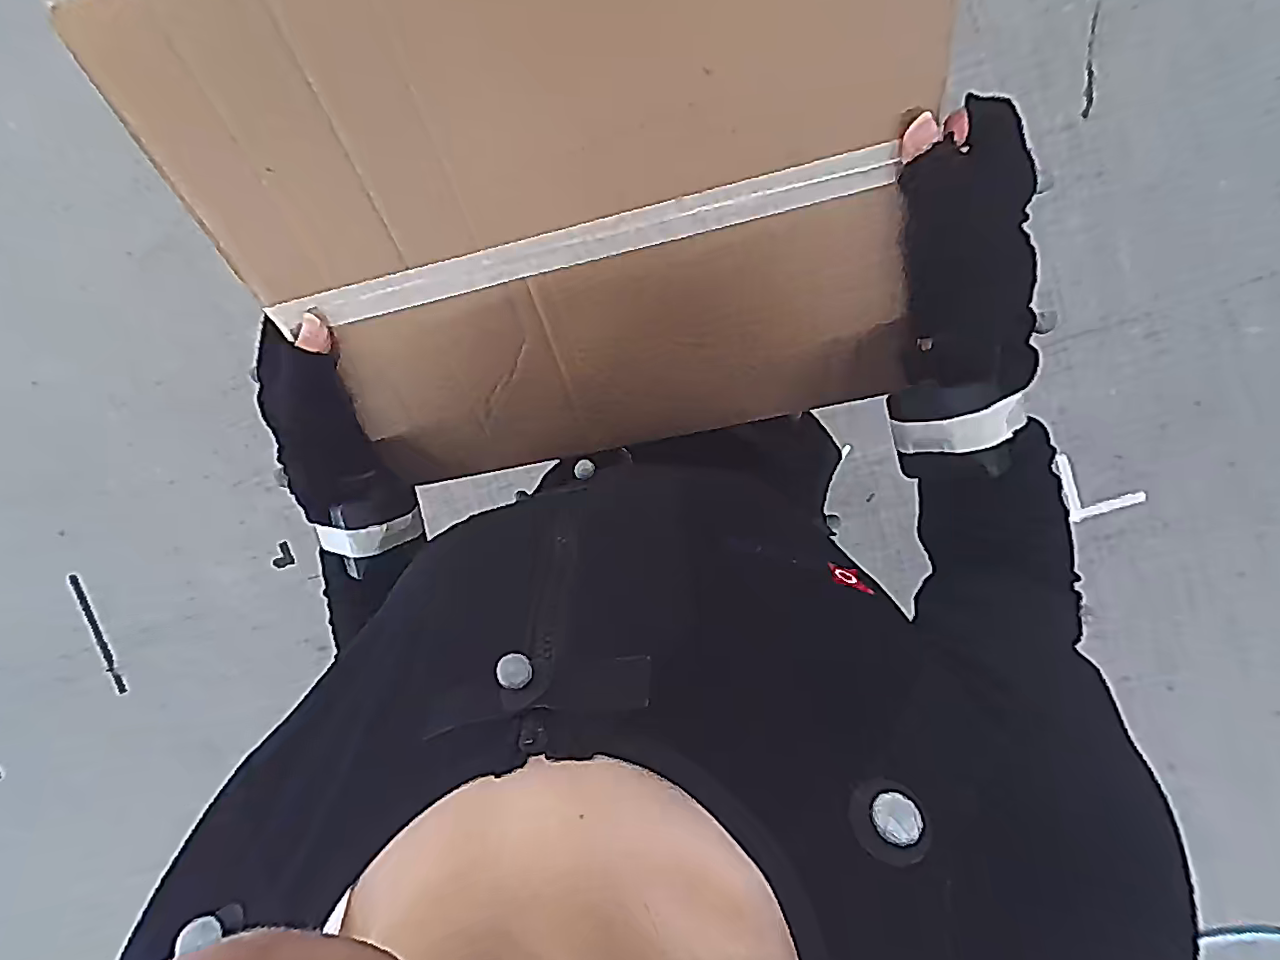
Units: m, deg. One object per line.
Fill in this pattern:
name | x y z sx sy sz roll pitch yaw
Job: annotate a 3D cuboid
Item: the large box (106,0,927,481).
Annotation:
large box | -0.039 -0.245 0.441 0.408 0.320 0.320 -11 132 9
